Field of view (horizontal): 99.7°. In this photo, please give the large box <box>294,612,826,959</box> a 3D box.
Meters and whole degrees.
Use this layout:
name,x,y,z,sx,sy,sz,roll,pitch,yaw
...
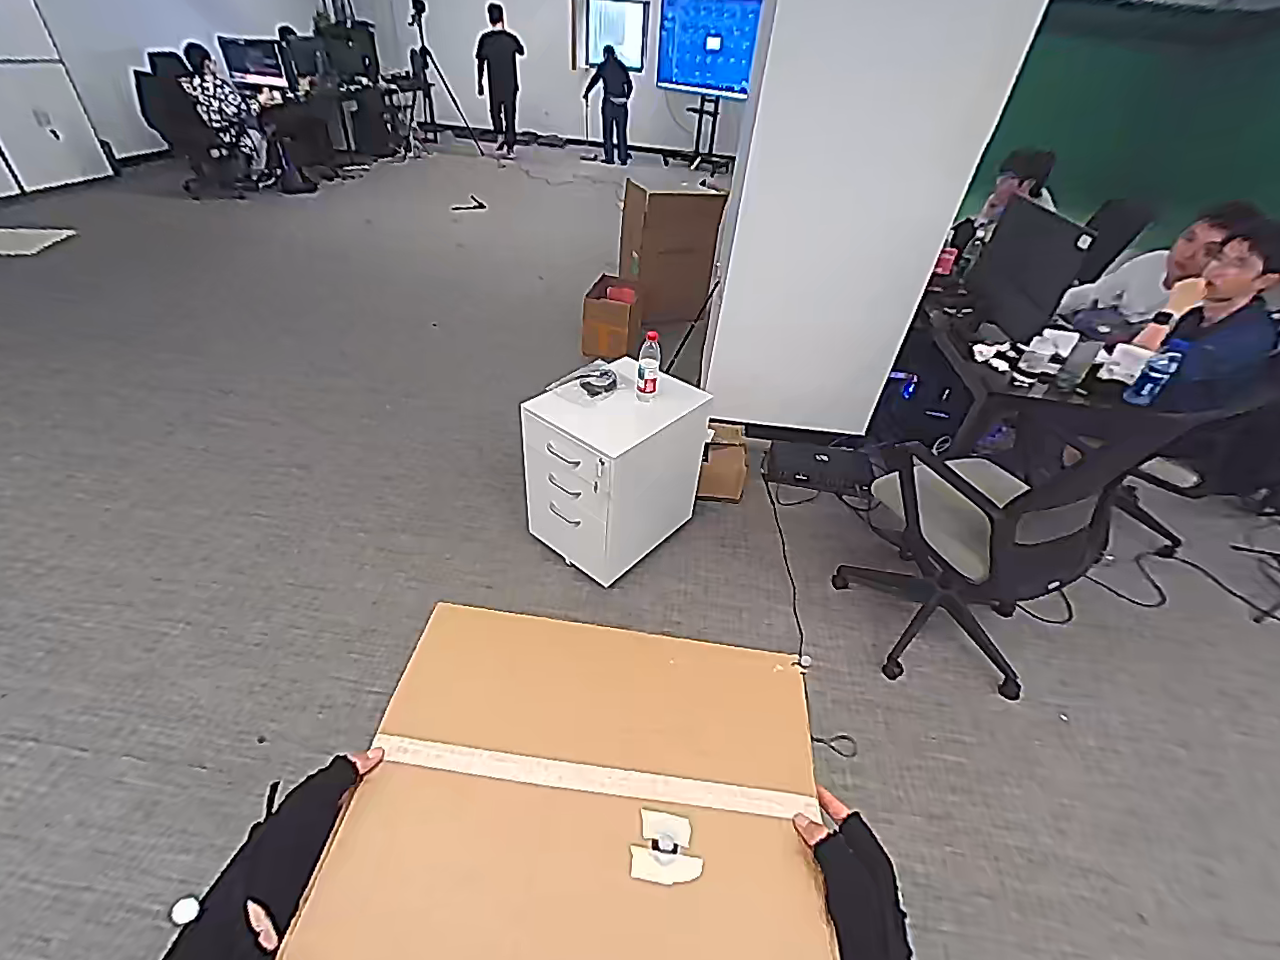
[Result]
name,x,y,z,sx,sy,sz,roll,pitch,yaw
large box,-0.059,0.385,0.595,0.408,0.320,0.320,9,43,0
